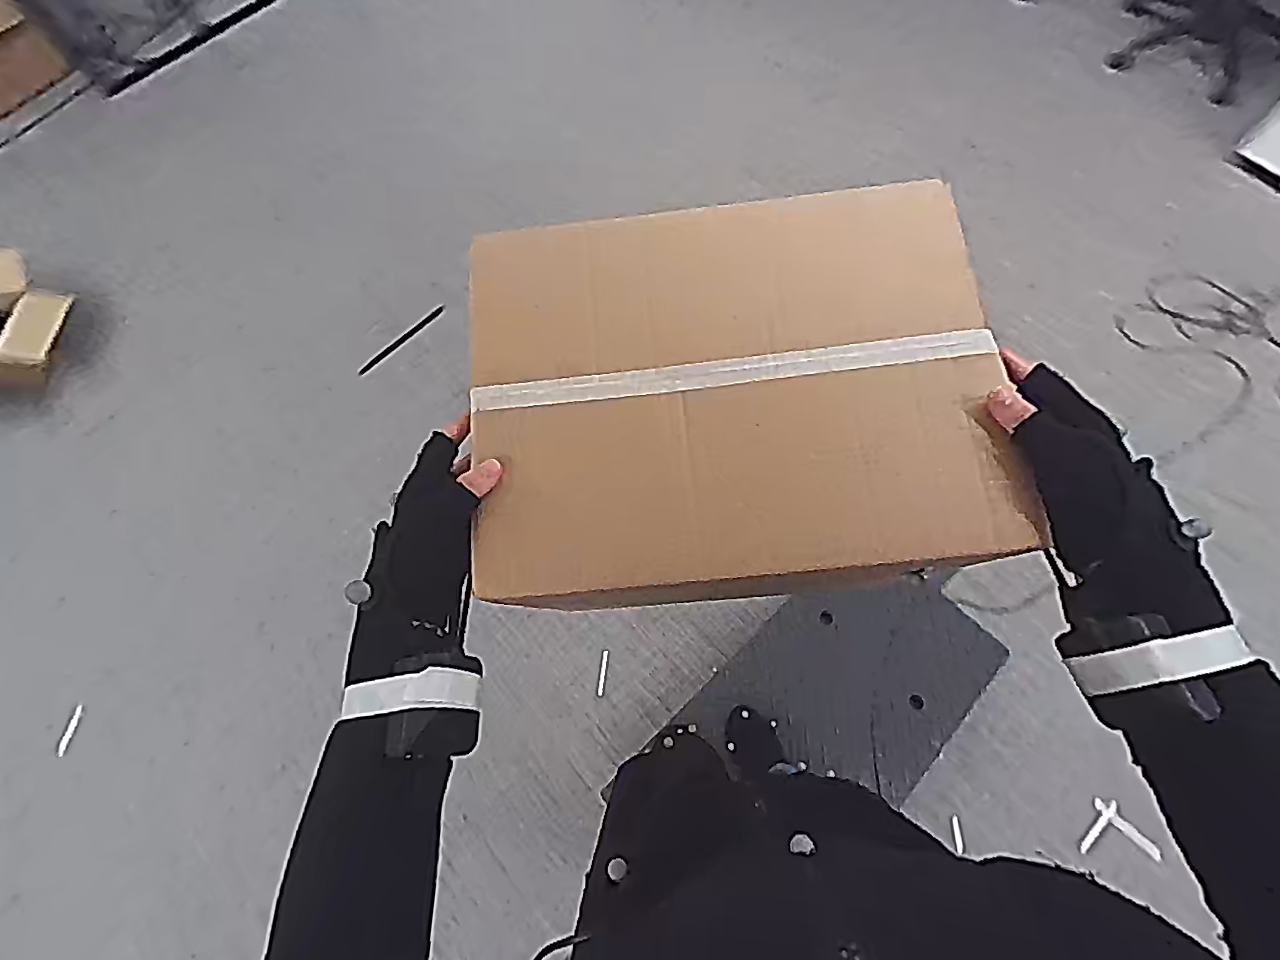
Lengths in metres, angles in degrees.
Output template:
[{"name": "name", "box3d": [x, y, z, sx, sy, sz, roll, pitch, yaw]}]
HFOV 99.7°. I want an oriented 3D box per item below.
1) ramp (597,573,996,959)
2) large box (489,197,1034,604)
[{"name": "ramp", "box3d": [0.420, 0.586, 1.338, 0.991, 0.206, 0.509, -44, 70, -12]}, {"name": "large box", "box3d": [0.086, -0.041, 0.574, 0.408, 0.320, 0.320, -4, 74, 3]}]
